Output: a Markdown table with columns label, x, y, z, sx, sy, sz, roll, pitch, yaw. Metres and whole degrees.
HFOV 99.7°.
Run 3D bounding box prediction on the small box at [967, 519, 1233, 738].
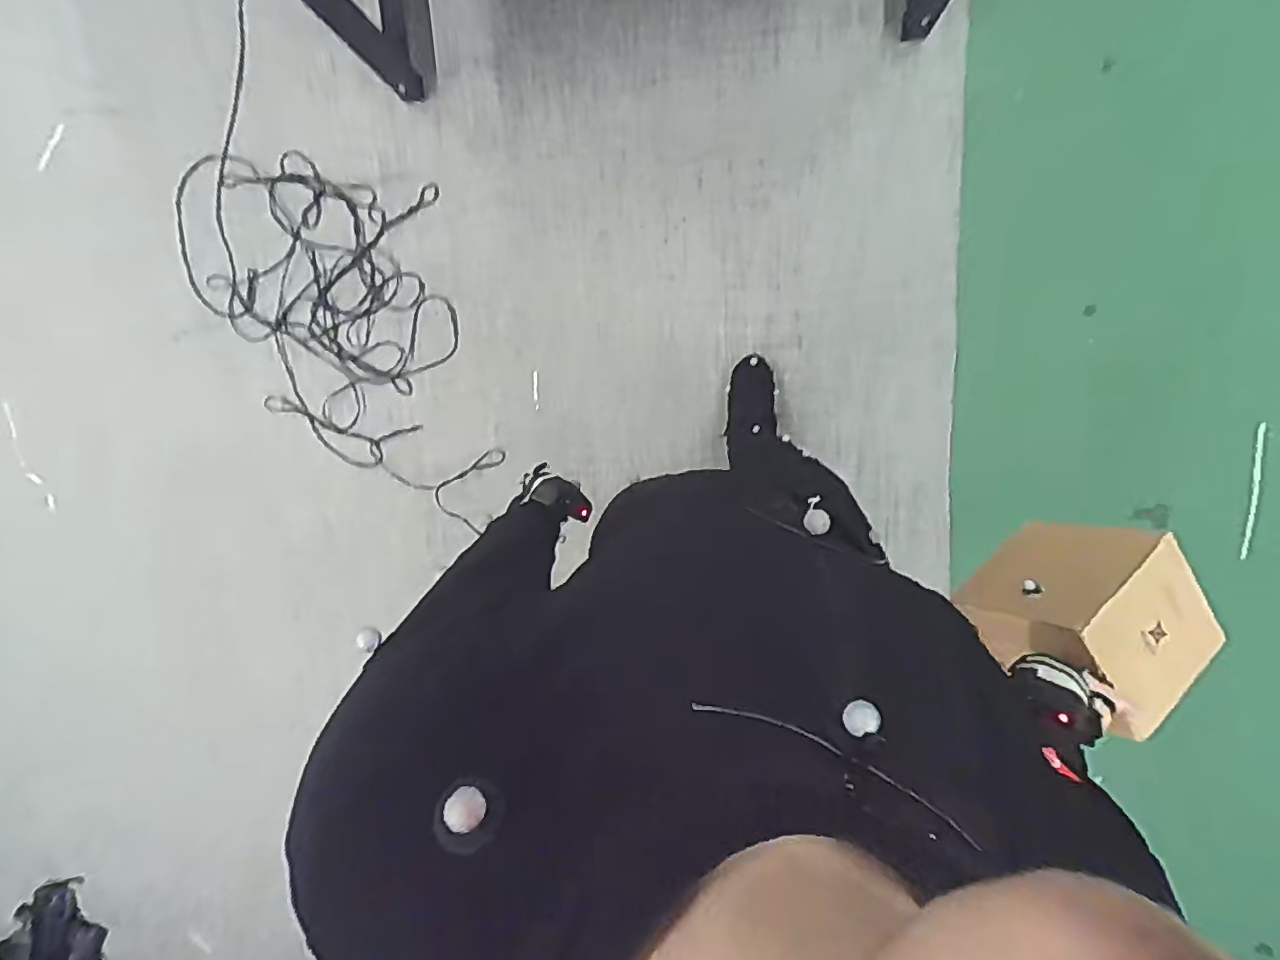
| label | x | y | z | sx | sy | sz | roll | pitch | yaw |
| --- | --- | --- | --- | --- | --- | --- | --- | --- | --- |
| small box | 0.542 | 0.164 | 0.661 | 0.179 | 0.176 | 0.168 | -40 | 100 | -14 |
